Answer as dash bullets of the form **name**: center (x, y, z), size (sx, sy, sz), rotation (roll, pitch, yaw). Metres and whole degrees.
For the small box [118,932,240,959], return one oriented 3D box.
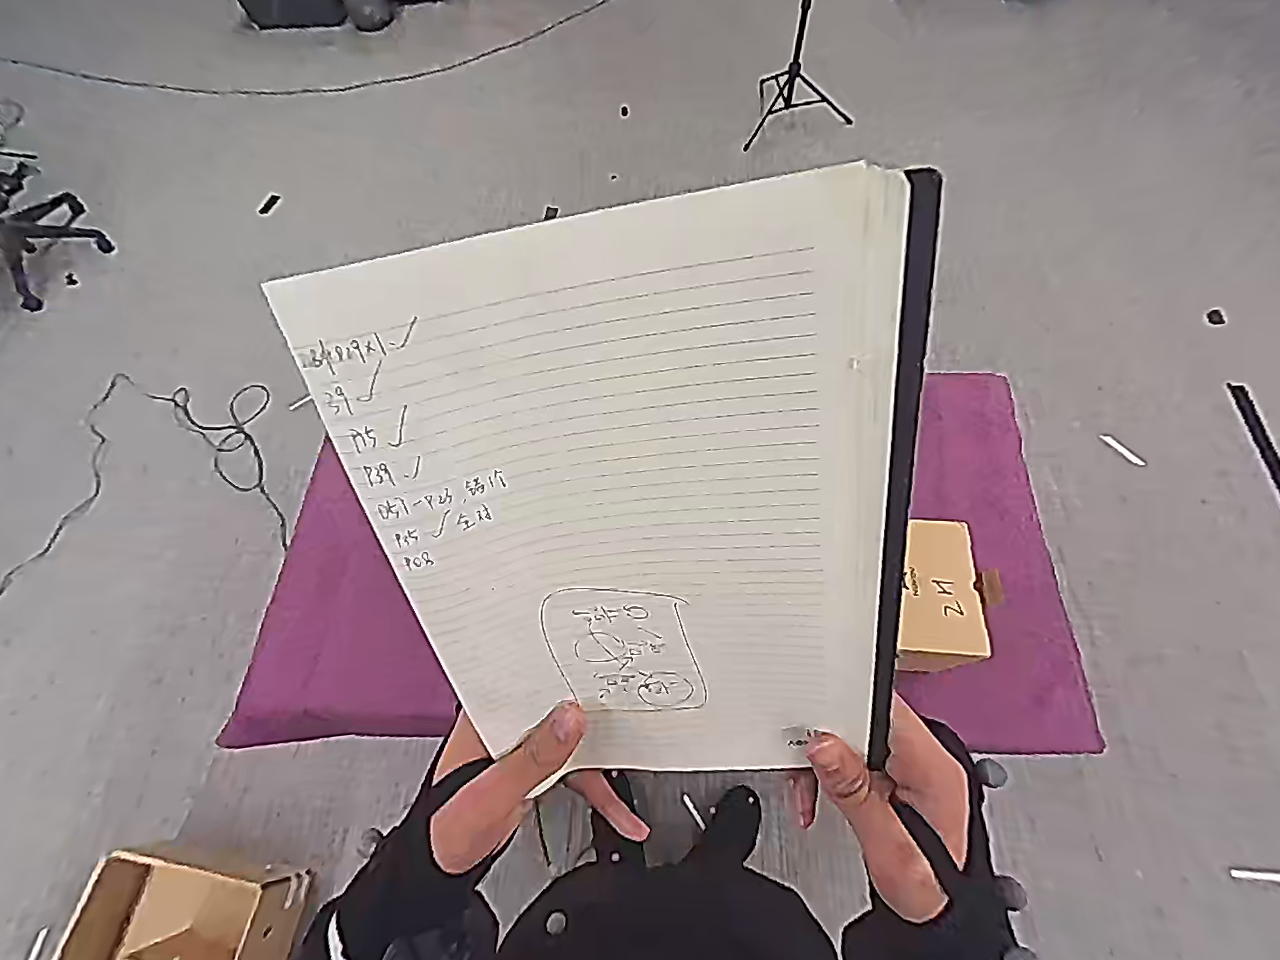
- **small box**: center (-0.998, 1.094, 1.130), size (0.179, 0.176, 0.168), rotation (15, 67, 10)

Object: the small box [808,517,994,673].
- **small box**: center (0.327, 0.160, 0.722), size (0.179, 0.176, 0.168), rotation (3, 65, 5)
